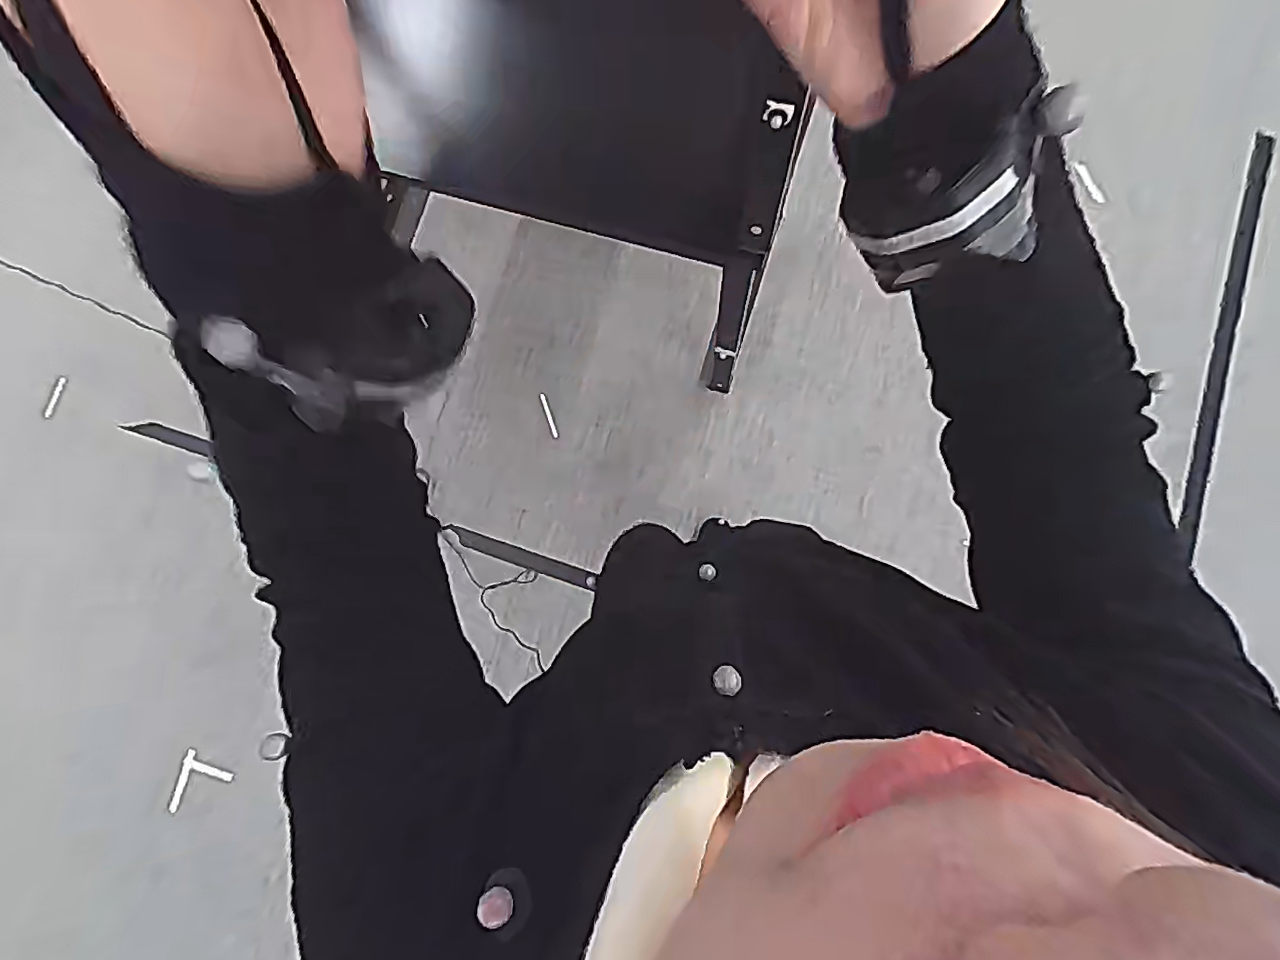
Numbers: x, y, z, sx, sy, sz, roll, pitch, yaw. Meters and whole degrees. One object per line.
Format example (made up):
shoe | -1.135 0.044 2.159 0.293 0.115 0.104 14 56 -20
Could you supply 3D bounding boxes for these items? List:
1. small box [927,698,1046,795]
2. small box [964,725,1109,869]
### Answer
small box | 0.816 0.654 1.289 0.168 0.176 0.179 23 86 8
small box | 0.810 0.646 1.125 0.168 0.176 0.179 18 84 7
